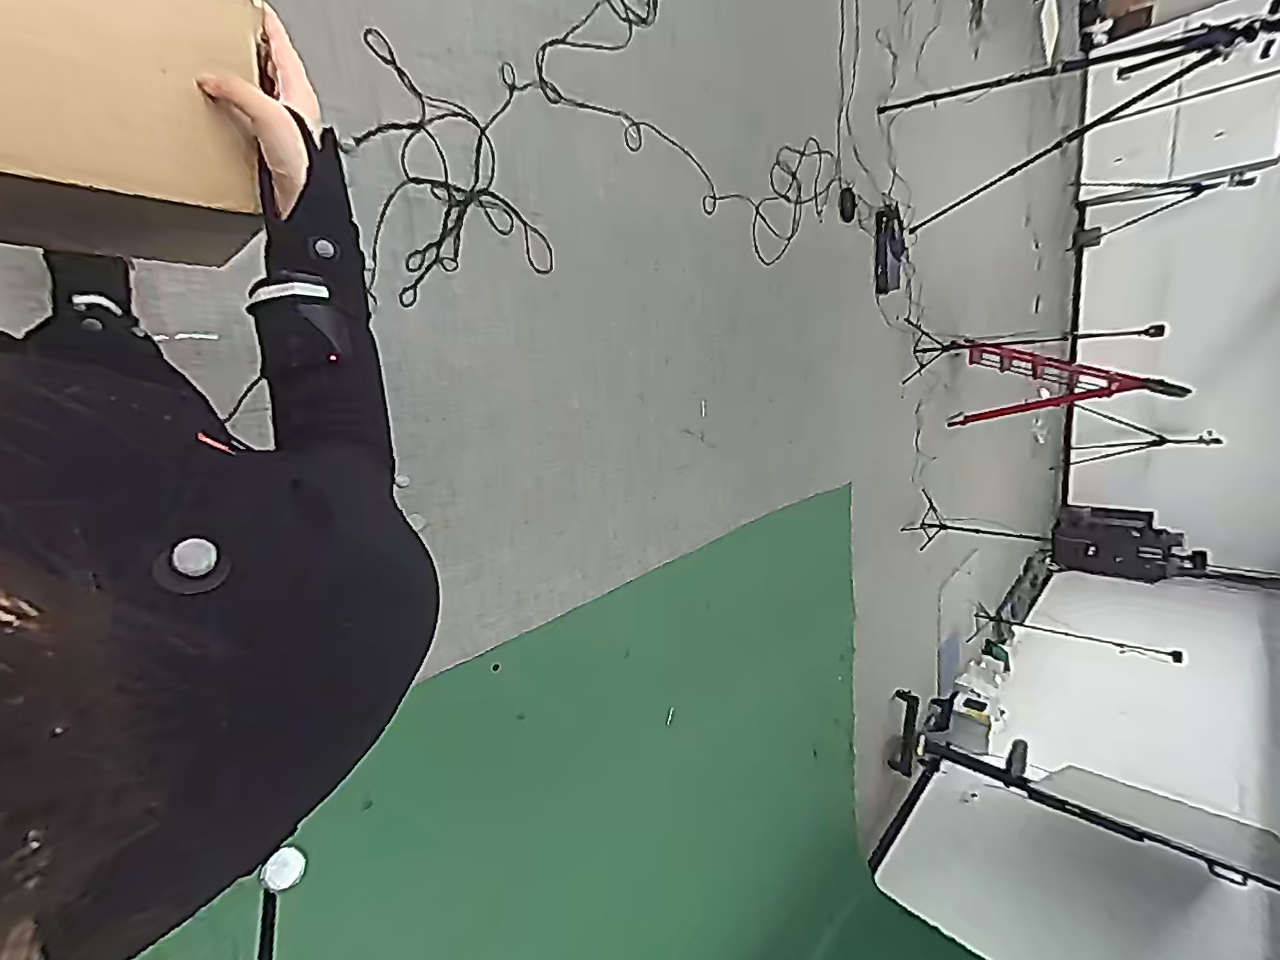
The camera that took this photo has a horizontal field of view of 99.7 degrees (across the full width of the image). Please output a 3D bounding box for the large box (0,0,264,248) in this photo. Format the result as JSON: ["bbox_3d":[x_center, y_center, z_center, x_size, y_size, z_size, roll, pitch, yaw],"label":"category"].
[{"bbox_3d":[-0.544,-0.366,0.378,0.408,0.320,0.320,-10,106,-41],"label":"large box"}]
